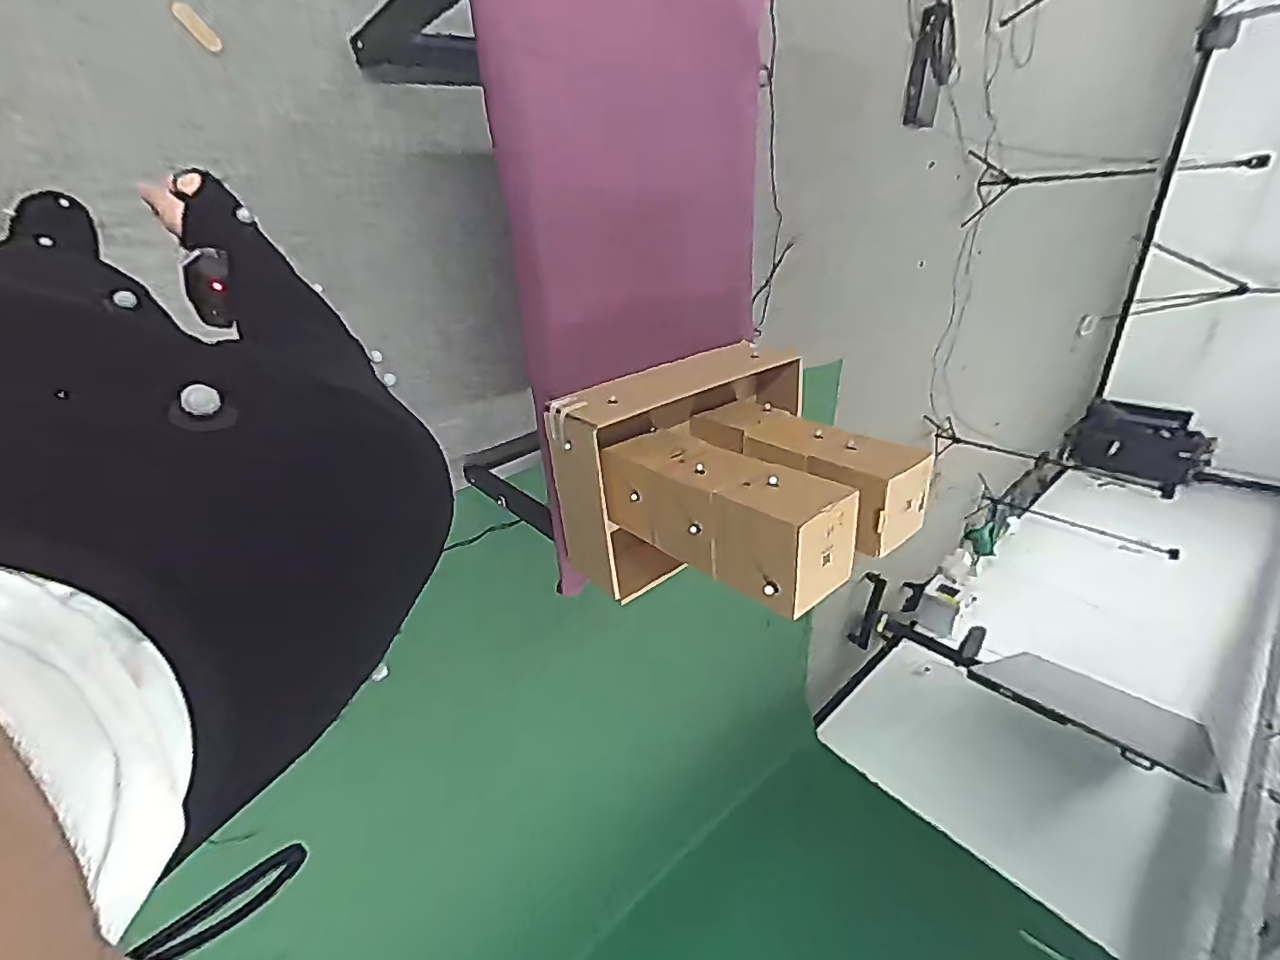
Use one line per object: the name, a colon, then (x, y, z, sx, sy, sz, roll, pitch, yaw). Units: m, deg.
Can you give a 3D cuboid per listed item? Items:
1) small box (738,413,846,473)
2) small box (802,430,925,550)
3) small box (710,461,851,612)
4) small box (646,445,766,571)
small box: (0.327, -0.038, 1.196, 0.179, 0.176, 0.168, -22, 121, -34)
small box: (0.434, 0.012, 1.081, 0.179, 0.176, 0.168, -22, 121, -33)
small box: (0.234, 0.087, 0.926, 0.168, 0.176, 0.179, -23, 121, -35)
small box: (0.124, 0.041, 1.040, 0.168, 0.176, 0.179, -22, 120, -35)
